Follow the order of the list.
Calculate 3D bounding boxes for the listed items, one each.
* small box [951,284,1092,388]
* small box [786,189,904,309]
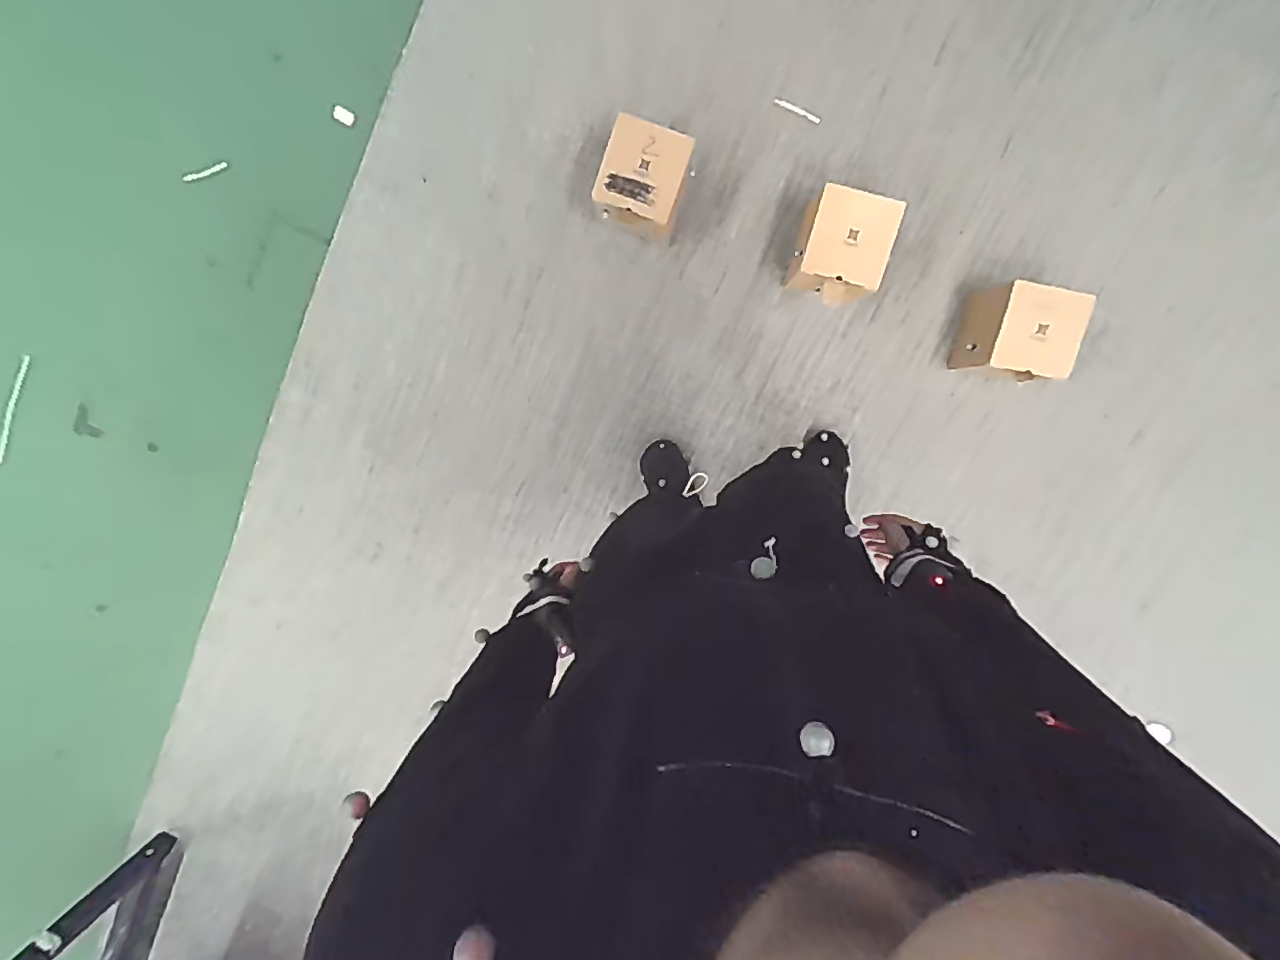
[{"bbox_3d":[0.804,-0.299,1.161,0.168,0.176,0.179,12,97,1],"label":"small box"},{"bbox_3d":[0.426,-0.484,1.158,0.168,0.176,0.179,15,99,1],"label":"small box"}]
